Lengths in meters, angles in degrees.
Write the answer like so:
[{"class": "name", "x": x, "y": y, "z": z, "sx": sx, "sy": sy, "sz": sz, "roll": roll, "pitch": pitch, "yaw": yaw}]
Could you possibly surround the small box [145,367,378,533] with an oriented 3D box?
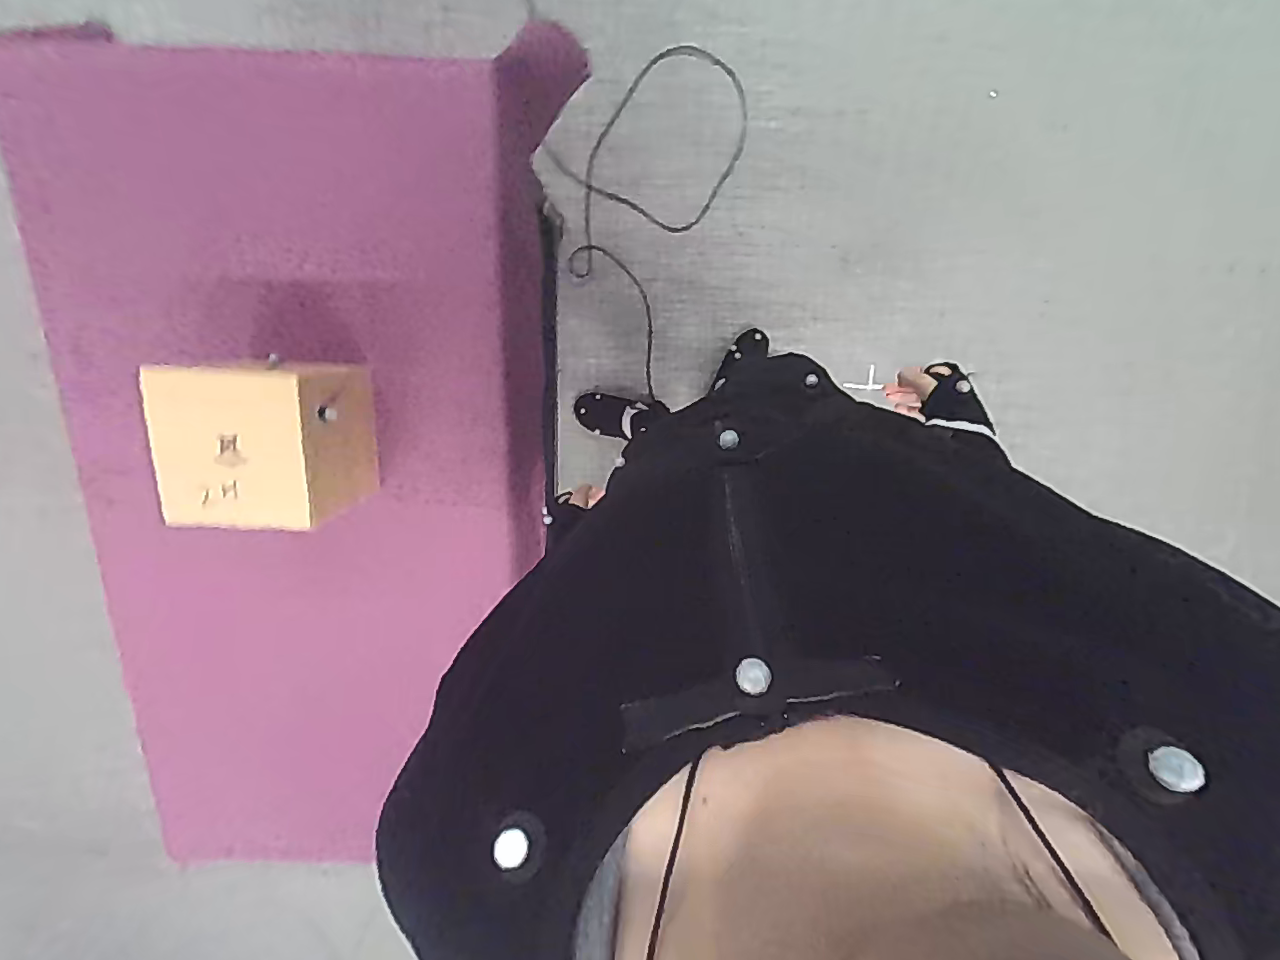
[{"class": "small box", "x": -0.446, "y": -0.047, "z": 0.668, "sx": 0.168, "sy": 0.176, "sz": 0.179, "roll": 3, "pitch": 104, "yaw": 0}]
